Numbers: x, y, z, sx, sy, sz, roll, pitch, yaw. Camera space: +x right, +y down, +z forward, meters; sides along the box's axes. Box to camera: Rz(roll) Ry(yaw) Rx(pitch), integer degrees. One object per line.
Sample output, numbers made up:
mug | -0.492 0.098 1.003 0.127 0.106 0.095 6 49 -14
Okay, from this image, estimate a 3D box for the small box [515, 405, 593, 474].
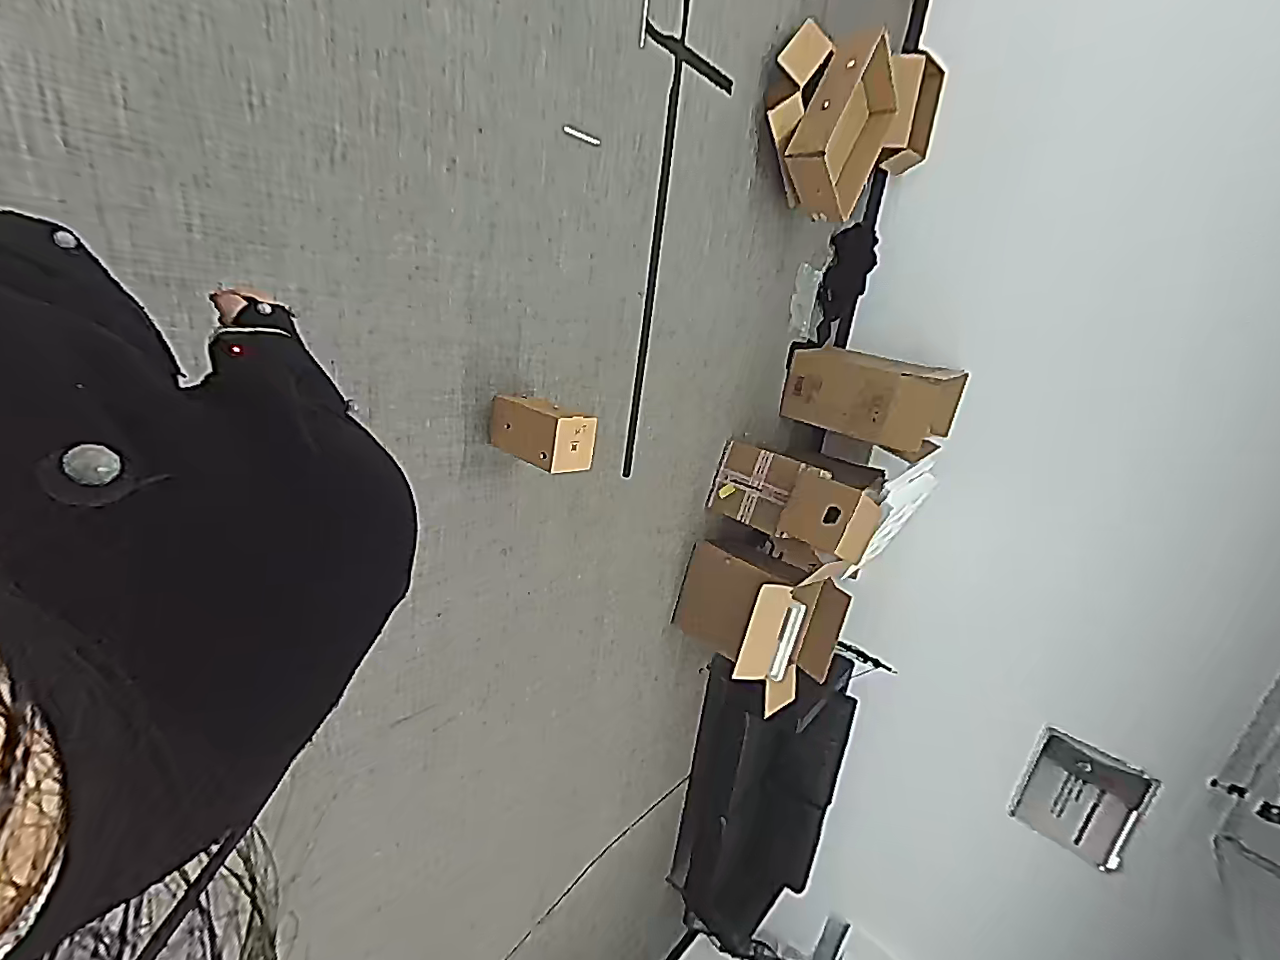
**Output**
small box | -0.275 -0.130 1.706 0.168 0.176 0.179 -8 113 -49
